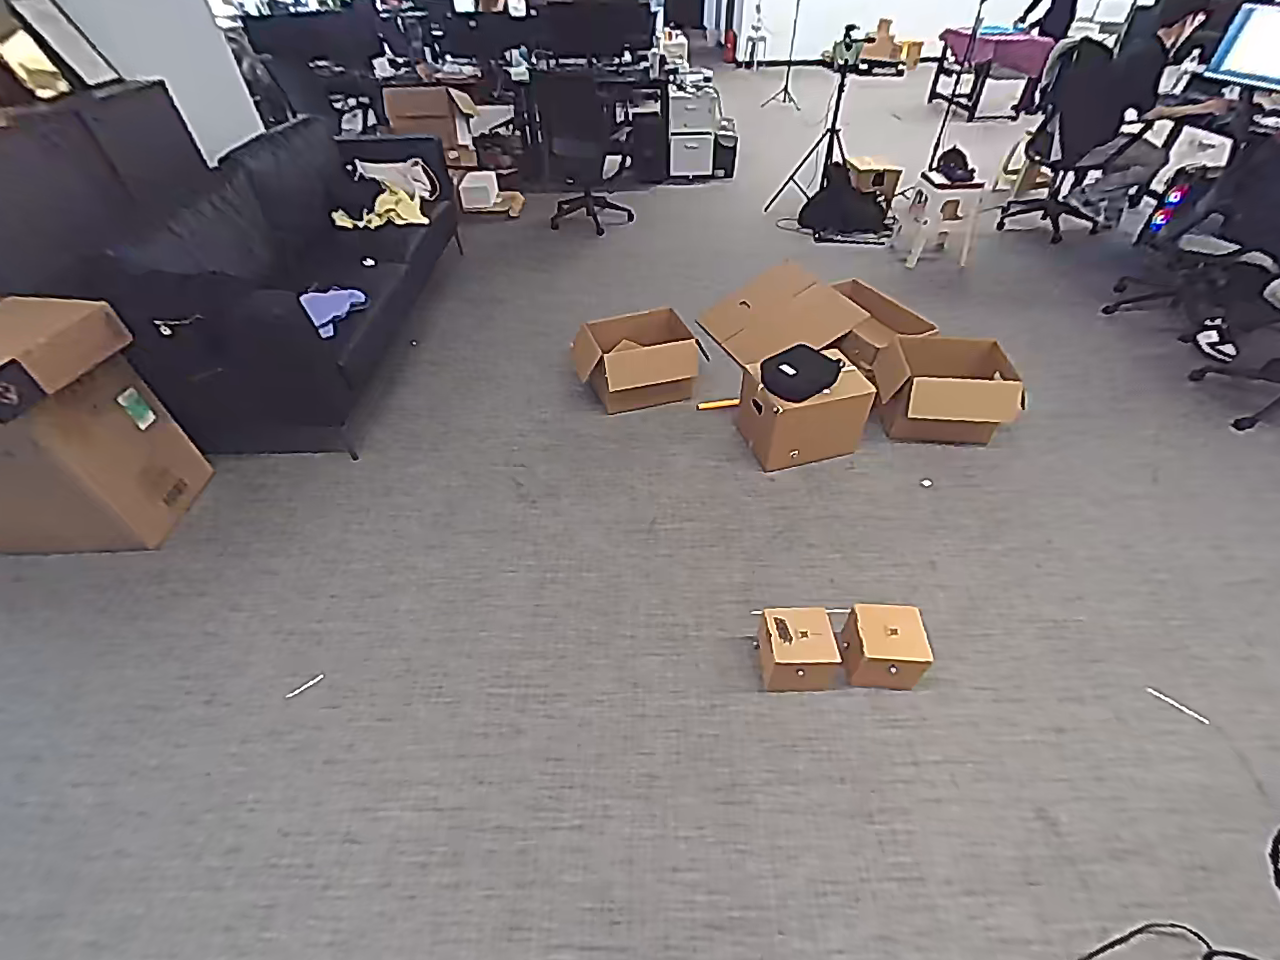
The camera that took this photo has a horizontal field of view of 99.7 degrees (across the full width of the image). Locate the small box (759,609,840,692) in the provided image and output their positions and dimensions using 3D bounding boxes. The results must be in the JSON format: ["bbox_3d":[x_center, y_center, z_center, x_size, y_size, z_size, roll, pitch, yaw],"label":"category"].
[{"bbox_3d":[0.433,0.477,1.506,0.179,0.176,0.168,-1,44,0],"label":"small box"}]

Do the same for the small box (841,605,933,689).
[{"bbox_3d":[0.678,0.469,1.506,0.179,0.176,0.168,1,45,5],"label":"small box"}]
